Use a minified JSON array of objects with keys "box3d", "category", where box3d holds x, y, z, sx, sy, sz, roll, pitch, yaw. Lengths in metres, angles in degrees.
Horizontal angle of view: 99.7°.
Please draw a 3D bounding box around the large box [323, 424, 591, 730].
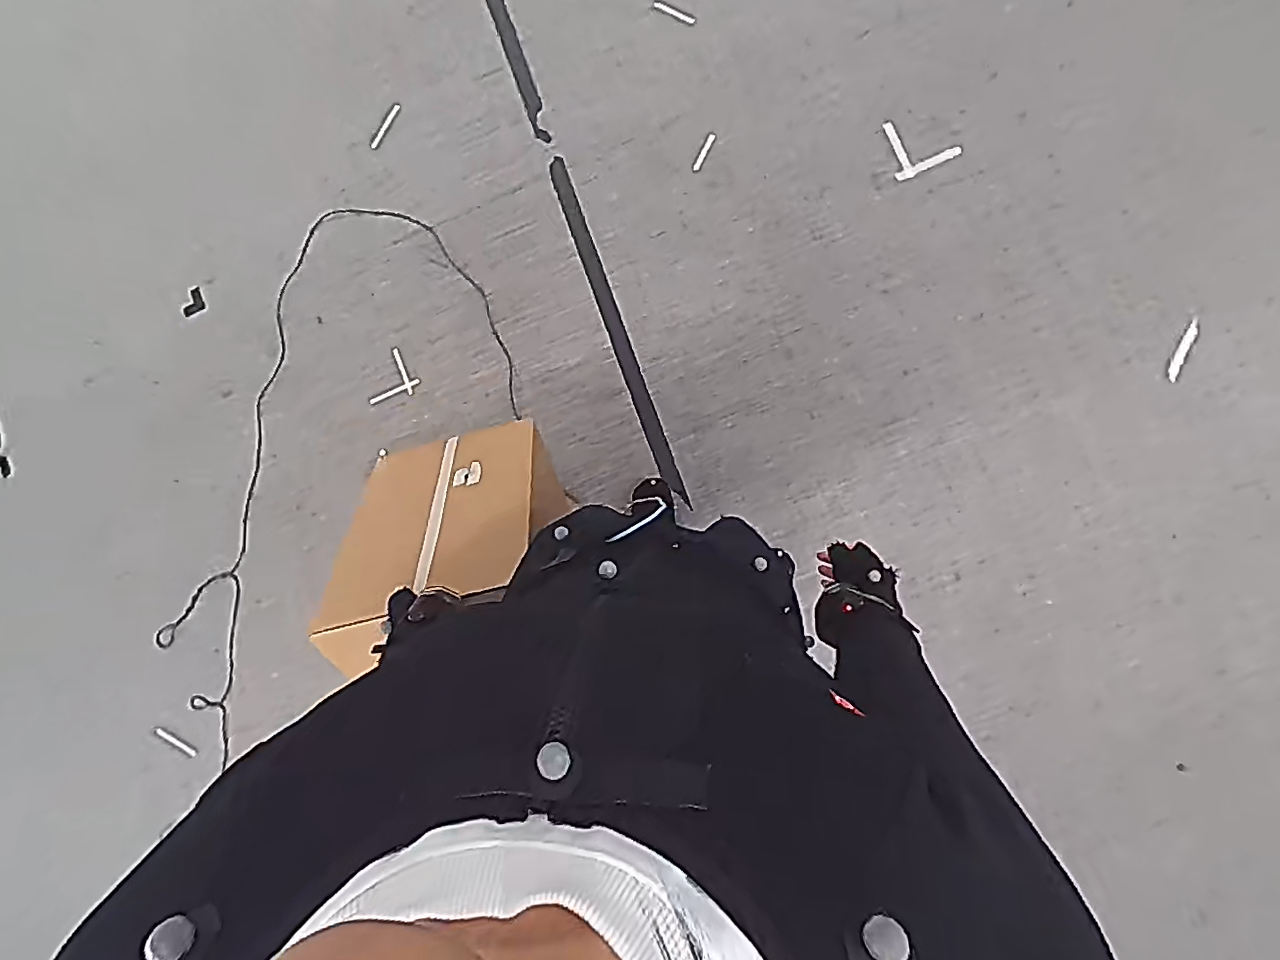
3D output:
[{"box3d":[-0.288,0.162,0.979,0.320,0.408,0.320,-13,129,1],"category":"large box"}]
